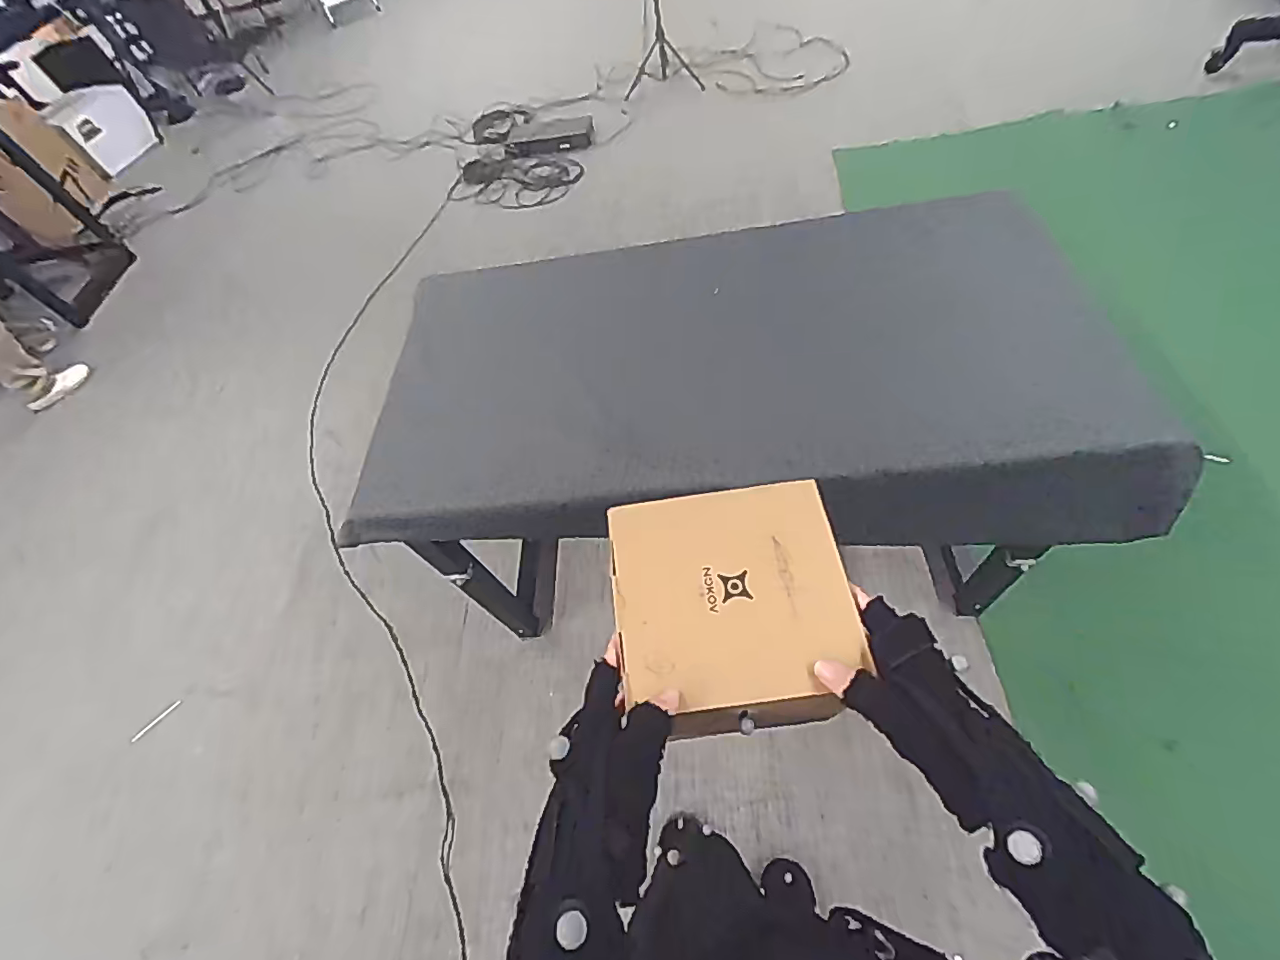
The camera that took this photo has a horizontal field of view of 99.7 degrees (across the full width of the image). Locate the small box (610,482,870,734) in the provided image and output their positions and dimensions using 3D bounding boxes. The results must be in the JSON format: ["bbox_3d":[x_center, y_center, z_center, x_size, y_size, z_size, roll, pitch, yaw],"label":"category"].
[{"bbox_3d":[0.075,0.124,0.490,0.179,0.176,0.168,-8,59,-1],"label":"small box"}]
